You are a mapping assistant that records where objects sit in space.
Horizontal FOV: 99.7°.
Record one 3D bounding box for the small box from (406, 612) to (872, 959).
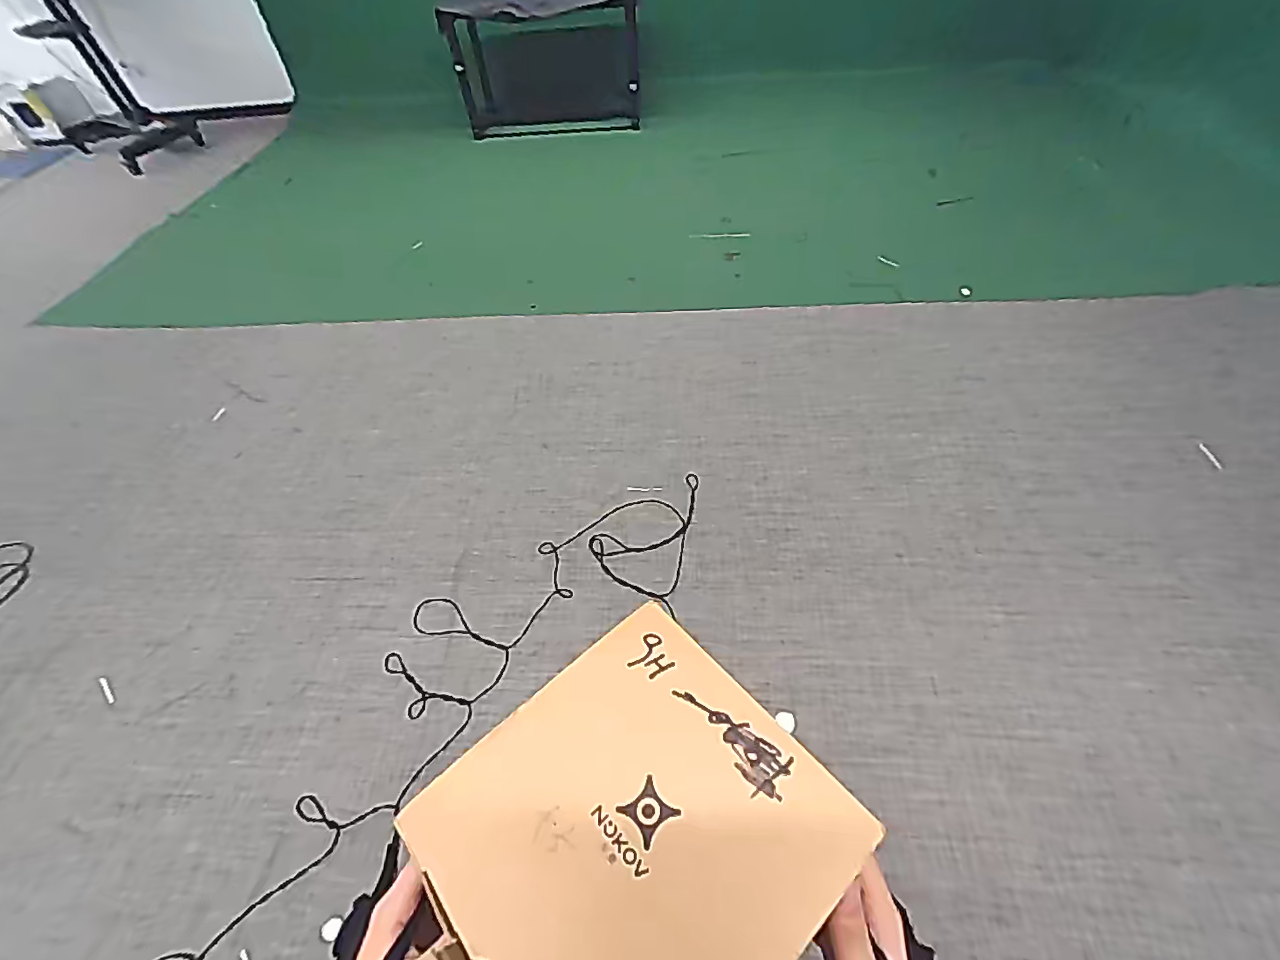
[{"bbox_3d":[0.002,0.223,0.327,0.179,0.176,0.168,-36,57,-23],"label":"small box"}]
